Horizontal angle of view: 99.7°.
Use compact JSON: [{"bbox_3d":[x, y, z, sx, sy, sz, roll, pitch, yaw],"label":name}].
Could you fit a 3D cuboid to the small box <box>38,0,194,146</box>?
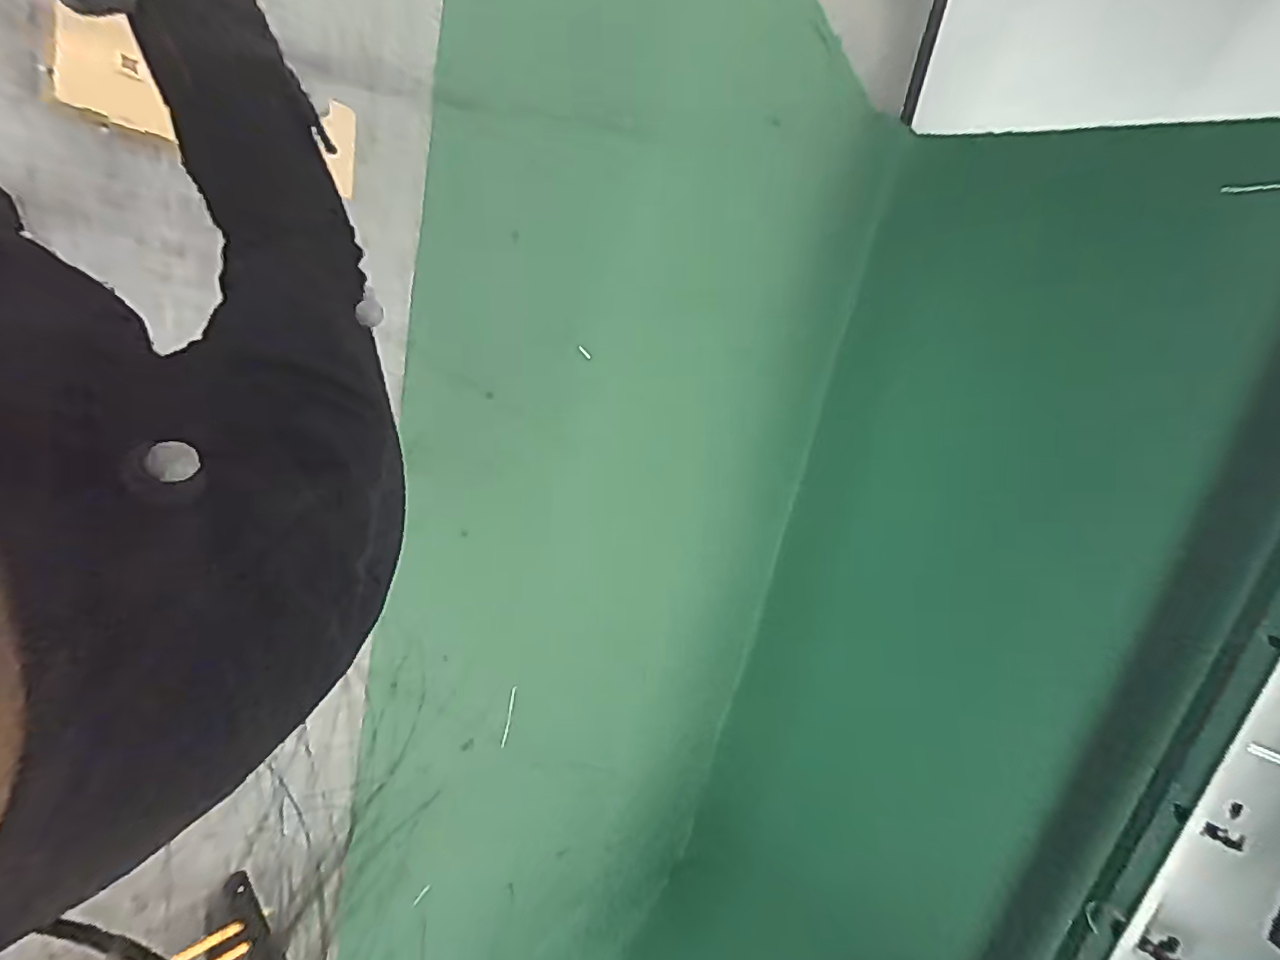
[{"bbox_3d":[-0.884,-0.694,0.912,0.168,0.176,0.179,-3,111,-53],"label":"small box"}]
